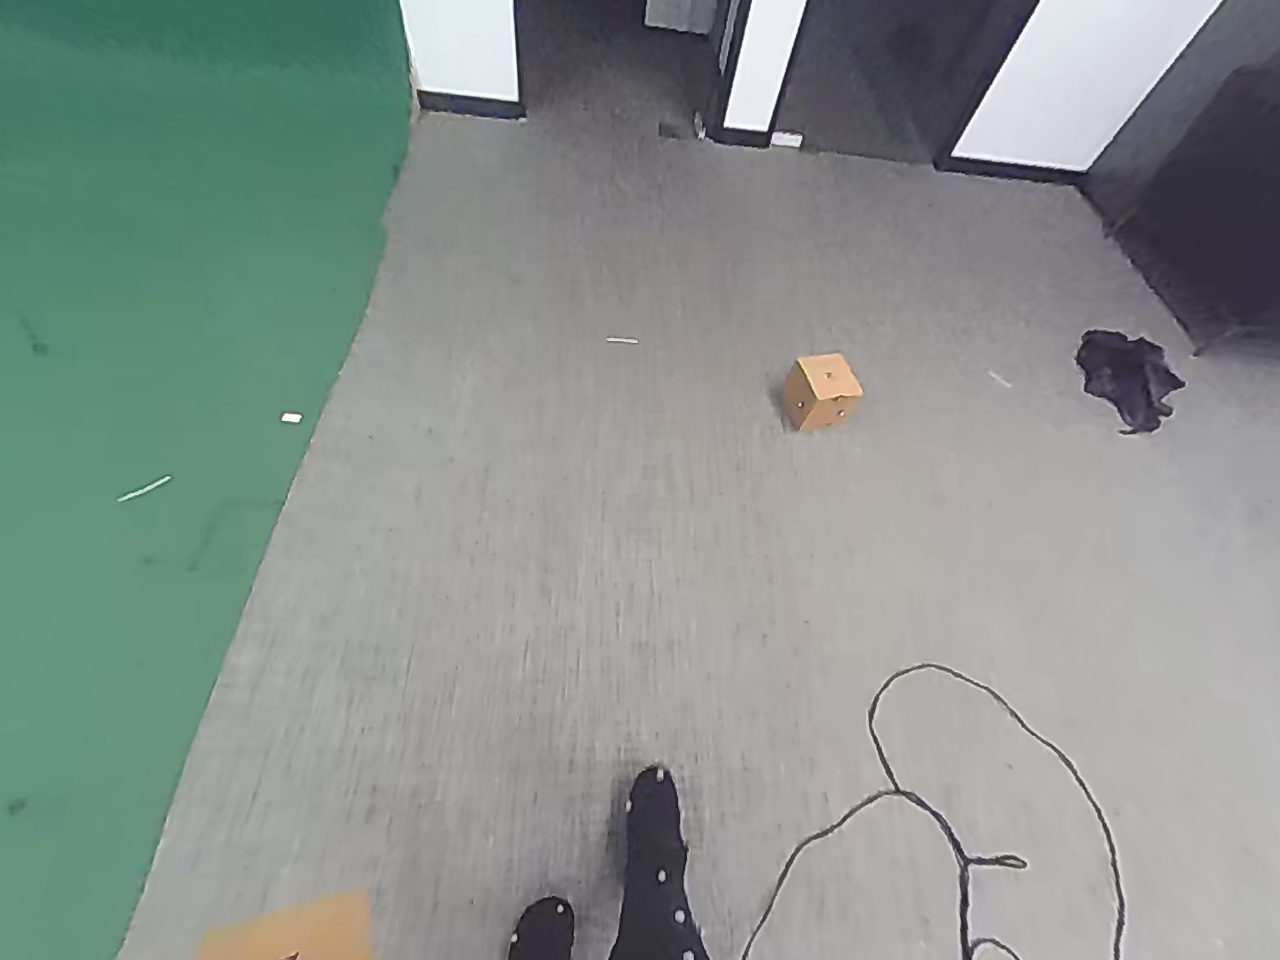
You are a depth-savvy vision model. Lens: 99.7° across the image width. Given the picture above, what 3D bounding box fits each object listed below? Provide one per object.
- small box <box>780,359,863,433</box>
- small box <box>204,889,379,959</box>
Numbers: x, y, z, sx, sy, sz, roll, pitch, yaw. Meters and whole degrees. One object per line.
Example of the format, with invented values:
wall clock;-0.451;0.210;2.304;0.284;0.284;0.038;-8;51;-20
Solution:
small box;0.579;-0.265;1.747;0.168;0.176;0.179;-8;58;-15
small box;-0.369;0.589;0.561;0.168;0.179;0.176;4;92;-30
